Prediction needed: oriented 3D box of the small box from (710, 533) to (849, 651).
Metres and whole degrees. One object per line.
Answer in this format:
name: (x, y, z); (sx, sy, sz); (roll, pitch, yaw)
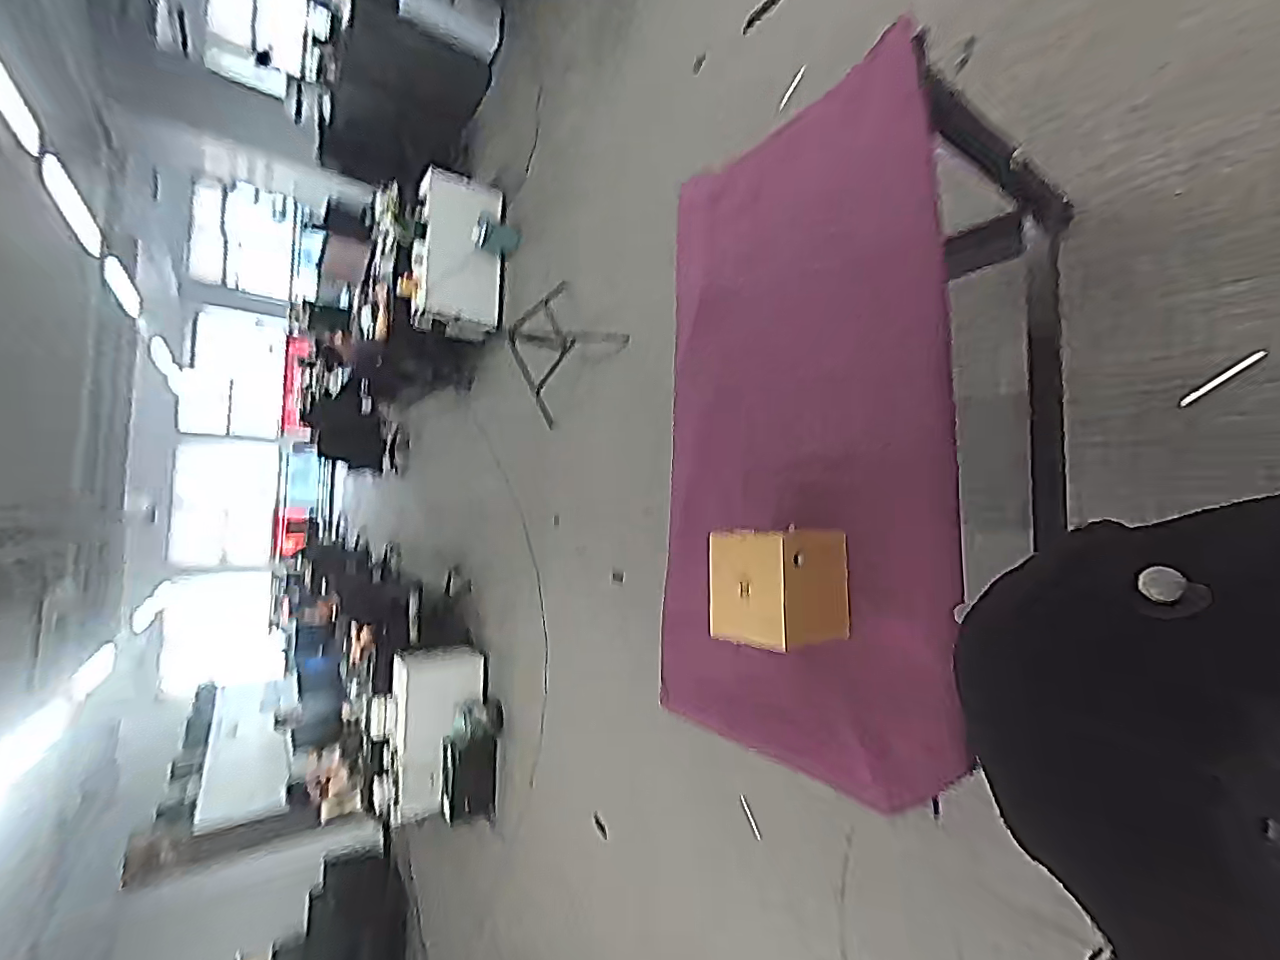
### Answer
small box: (0.239, 0.180, 0.926); (0.168, 0.176, 0.179); (-9, 79, 54)
